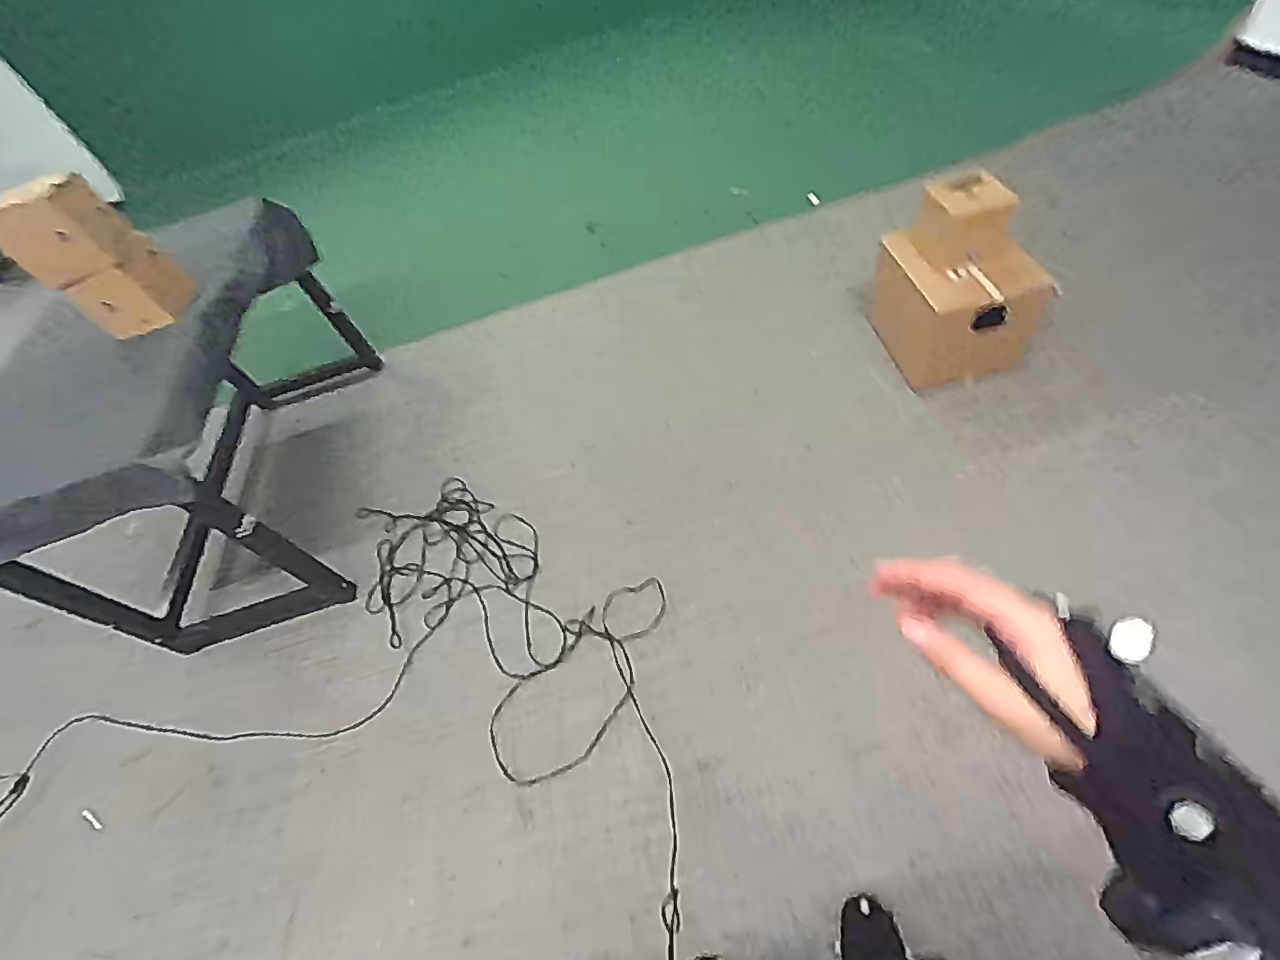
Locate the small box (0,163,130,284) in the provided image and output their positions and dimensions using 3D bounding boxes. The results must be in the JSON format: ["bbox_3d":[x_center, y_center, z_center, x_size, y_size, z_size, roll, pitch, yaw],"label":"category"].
[{"bbox_3d":[-1.349,-0.588,1.247,0.179,0.176,0.168,-22,51,1],"label":"small box"}]

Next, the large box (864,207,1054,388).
[{"bbox_3d":[0.933,-0.555,1.655,0.320,0.320,0.408,-14,54,5],"label":"large box"}]

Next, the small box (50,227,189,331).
[{"bbox_3d":[-1.313,-0.504,1.382,0.168,0.176,0.179,-16,53,4],"label":"small box"}]
